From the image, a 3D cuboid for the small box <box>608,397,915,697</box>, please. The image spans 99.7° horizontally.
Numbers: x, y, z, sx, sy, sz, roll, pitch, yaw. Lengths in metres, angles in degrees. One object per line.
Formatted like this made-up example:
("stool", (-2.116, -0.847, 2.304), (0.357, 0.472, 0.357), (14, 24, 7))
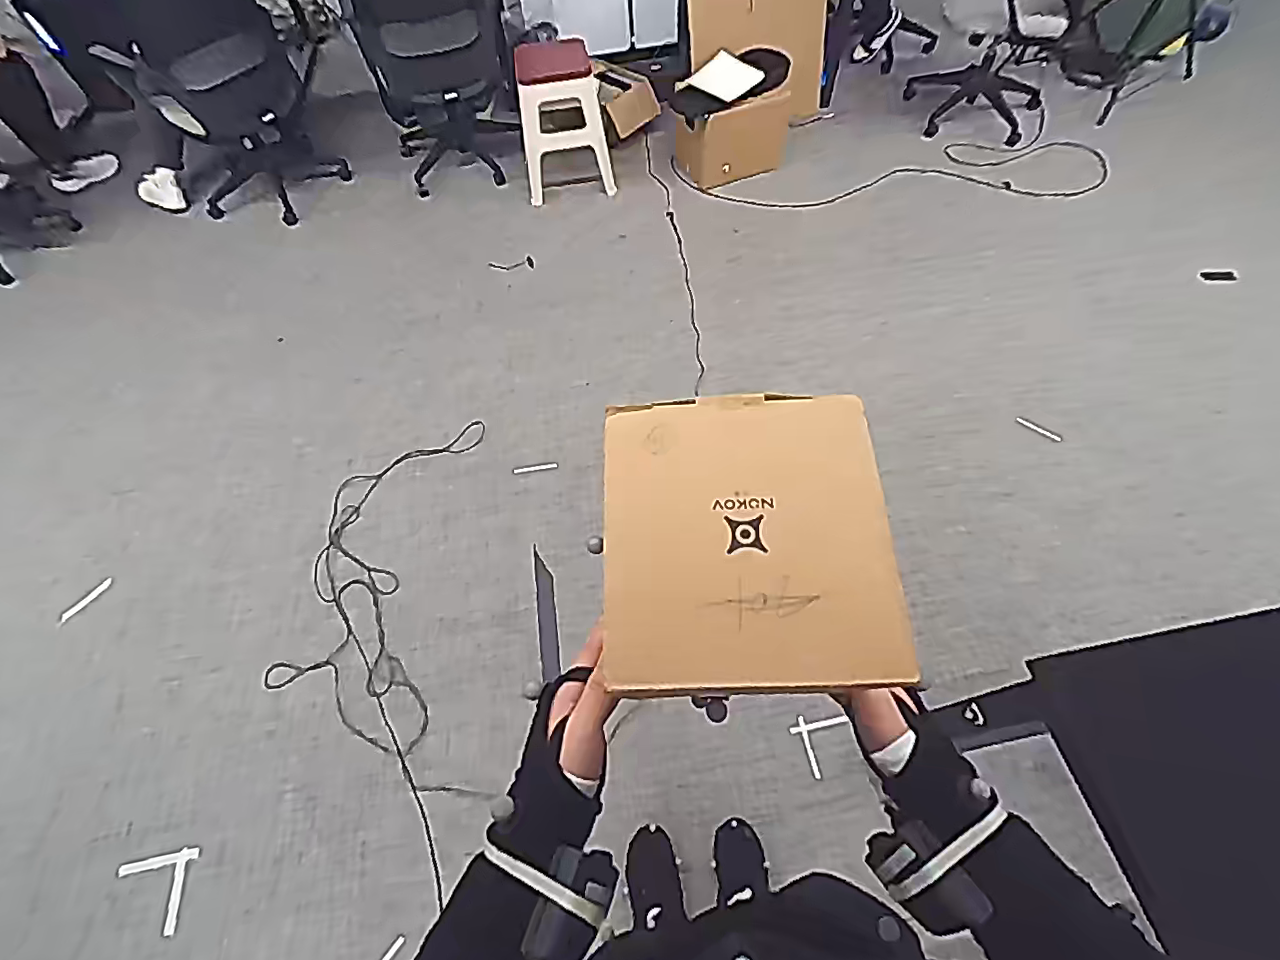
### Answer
("small box", (0.065, 0.060, 0.393), (0.168, 0.176, 0.179), (-3, 67, 2))
